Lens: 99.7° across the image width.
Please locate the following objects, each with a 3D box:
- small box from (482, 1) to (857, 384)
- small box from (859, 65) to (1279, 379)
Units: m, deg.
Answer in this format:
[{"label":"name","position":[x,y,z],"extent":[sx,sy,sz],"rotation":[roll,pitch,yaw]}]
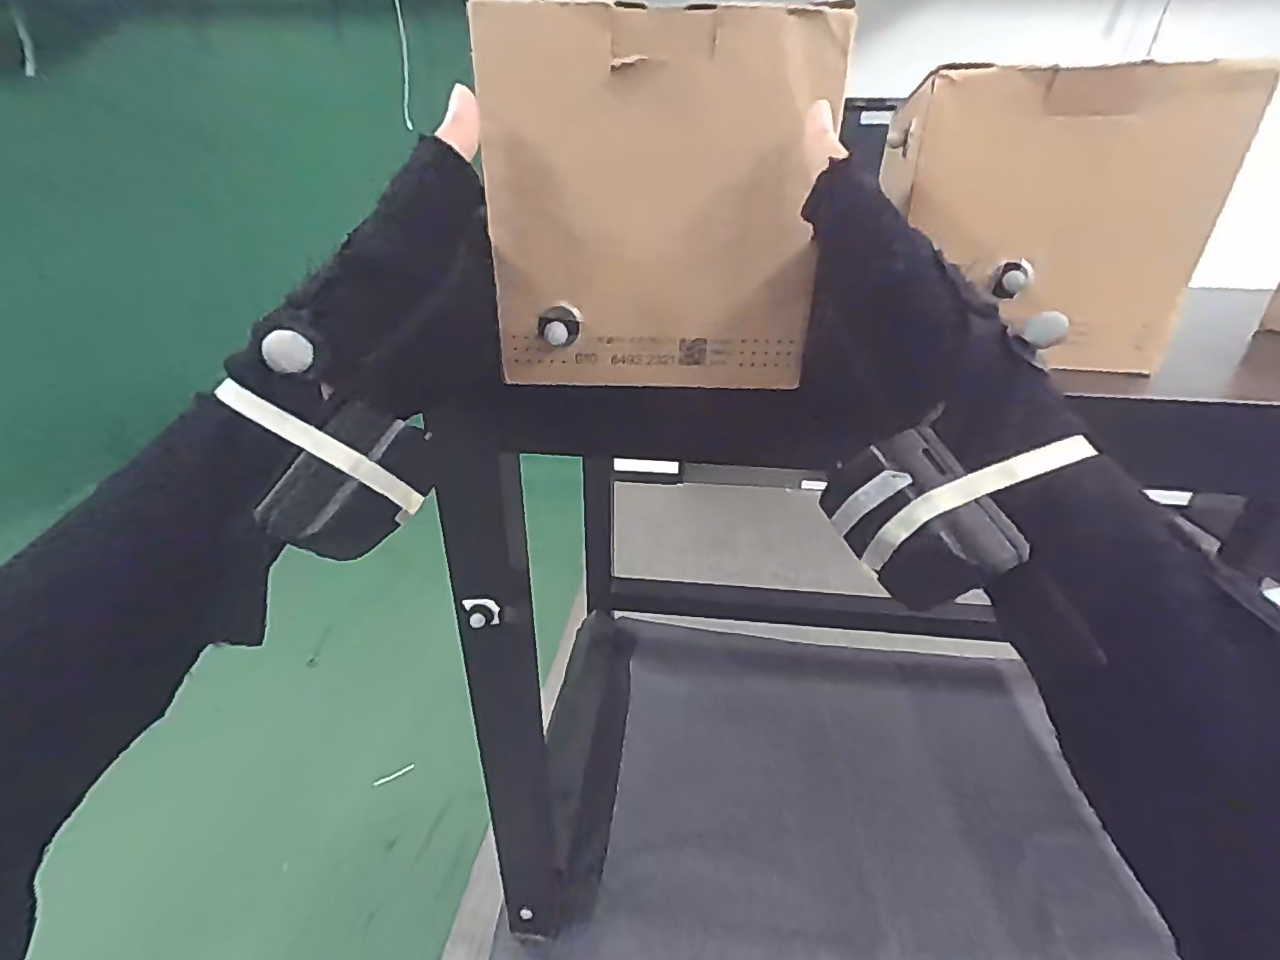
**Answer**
[{"label":"small box","position":[0.012,-0.162,0.338],"extent":[0.168,0.176,0.179],"rotation":[1,26,-1]},{"label":"small box","position":[0.270,-0.184,0.402],"extent":[0.168,0.176,0.179],"rotation":[7,27,12]}]
